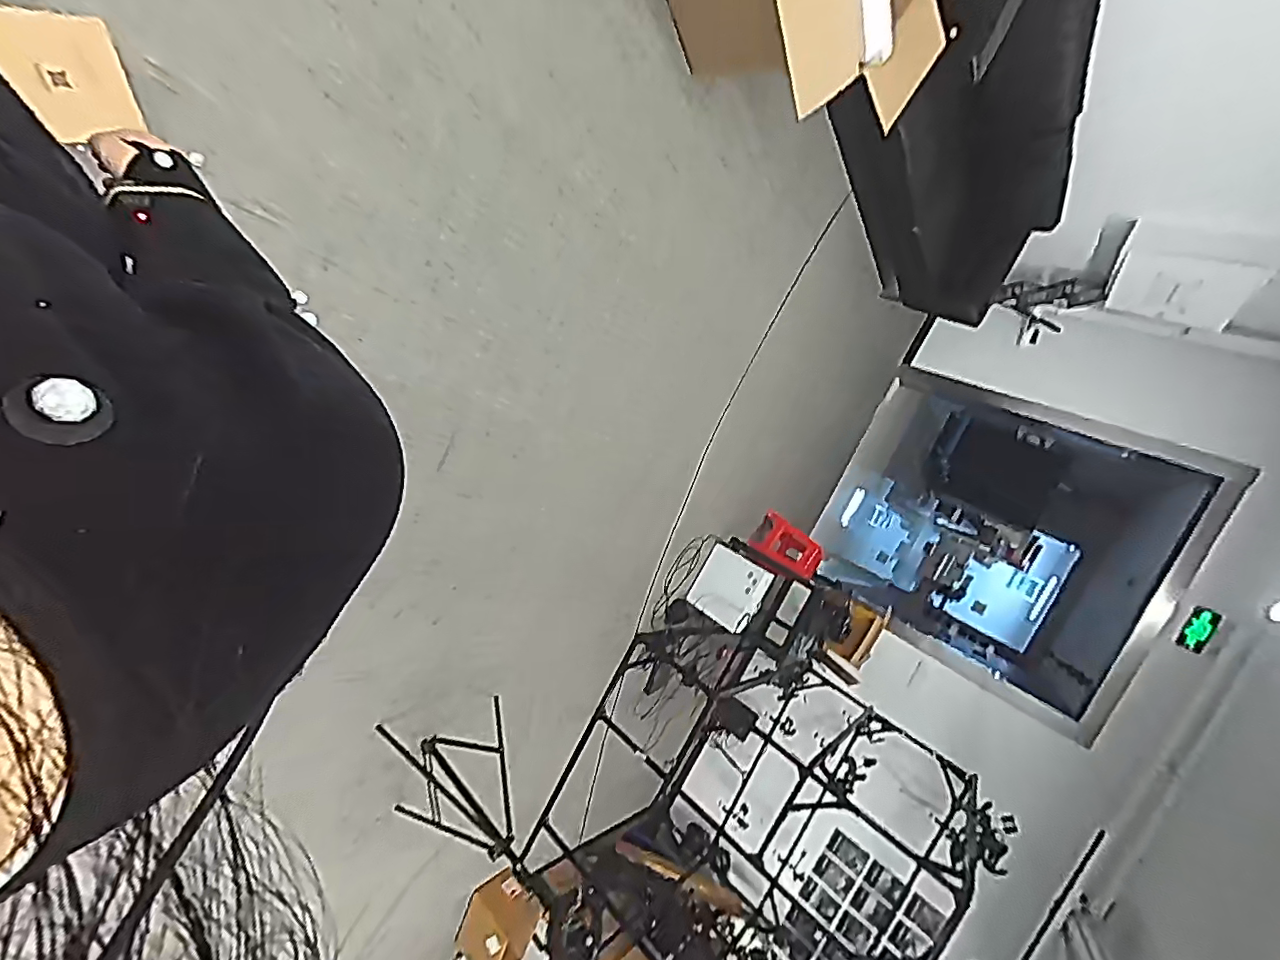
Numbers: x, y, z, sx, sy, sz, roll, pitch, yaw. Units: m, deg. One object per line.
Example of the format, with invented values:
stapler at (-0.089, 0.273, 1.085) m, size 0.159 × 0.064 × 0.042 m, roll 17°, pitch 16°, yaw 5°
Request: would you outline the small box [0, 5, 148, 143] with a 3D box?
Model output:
small box at (-0.940, -0.637, 0.855) m, size 0.179 × 0.176 × 0.168 m, roll -30°, pitch 138°, yaw -39°
